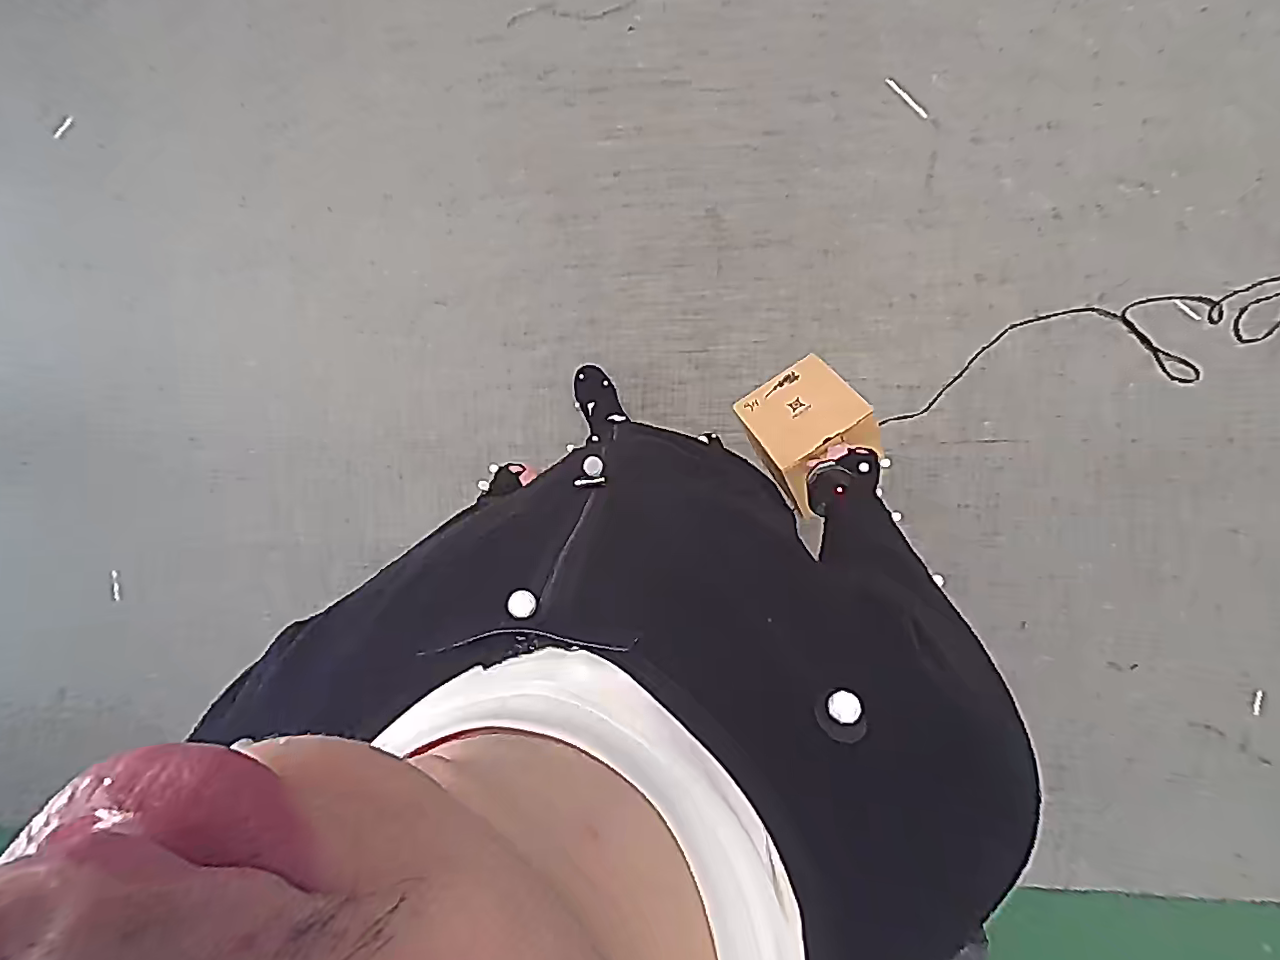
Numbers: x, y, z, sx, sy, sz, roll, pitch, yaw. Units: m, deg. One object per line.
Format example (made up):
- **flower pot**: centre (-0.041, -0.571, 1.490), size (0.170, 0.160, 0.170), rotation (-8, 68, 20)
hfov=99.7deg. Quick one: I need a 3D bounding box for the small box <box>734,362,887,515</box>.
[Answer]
- **small box**: centre (0.297, -0.061, 0.933), size (0.168, 0.179, 0.176), rotation (-36, 136, 7)
